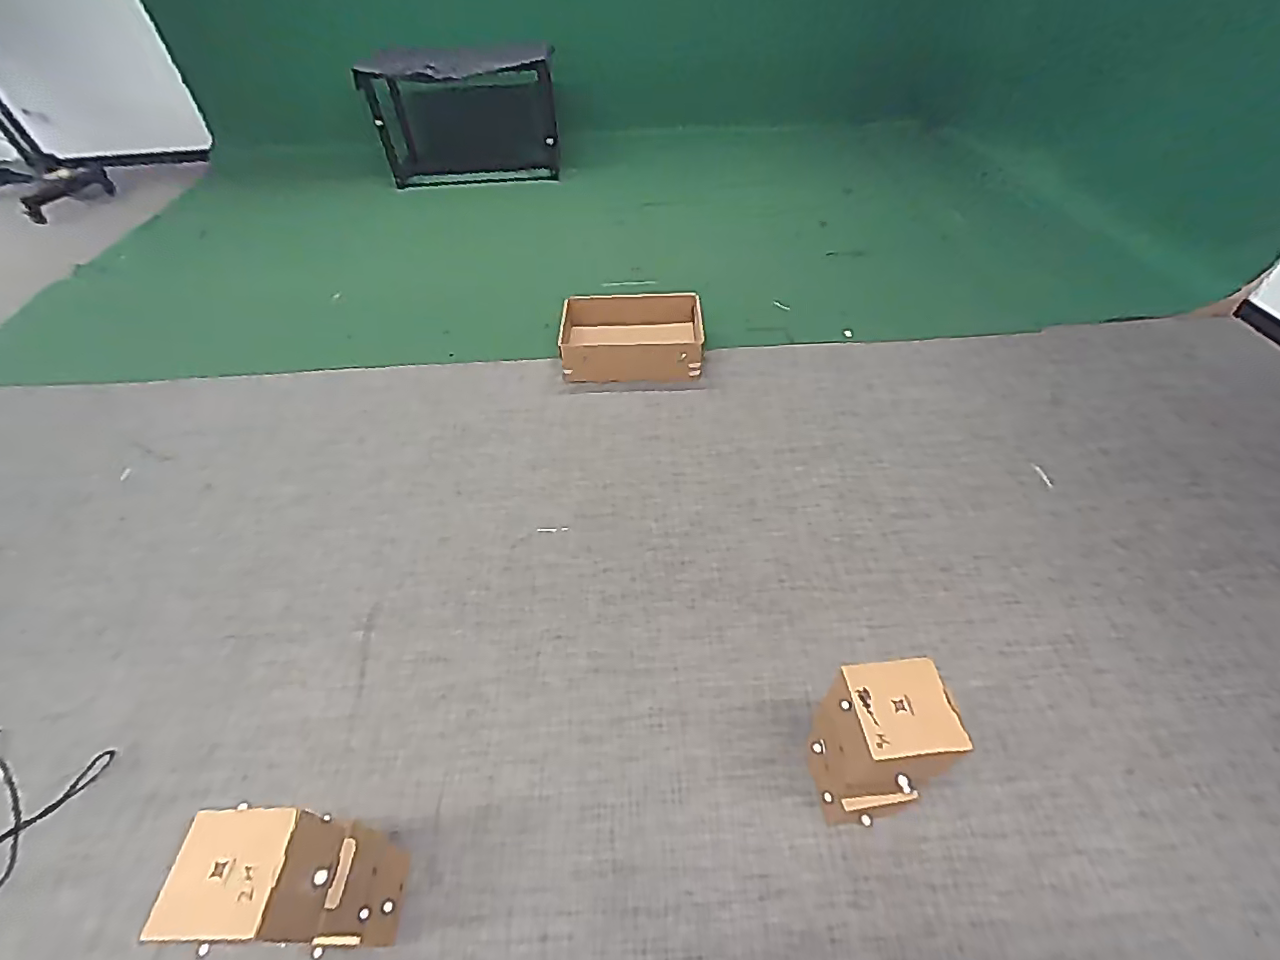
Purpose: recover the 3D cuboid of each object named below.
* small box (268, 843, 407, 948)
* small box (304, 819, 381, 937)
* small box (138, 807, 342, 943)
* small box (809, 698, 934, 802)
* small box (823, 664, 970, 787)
[{"bbox_3d":[-0.616,0.866,1.131,0.179,0.176,0.168,-2,48,1],"label":"small box"},{"bbox_3d":[-0.622,0.748,1.017,0.179,0.176,0.168,-2,48,2],"label":"small box"},{"bbox_3d":[-0.633,0.648,0.886,0.179,0.176,0.168,-2,48,2],"label":"small box"},{"bbox_3d":[0.479,0.569,1.147,0.179,0.176,0.168,-5,47,-1],"label":"small box"},{"bbox_3d":[0.469,0.465,1.020,0.179,0.176,0.168,-4,47,-2],"label":"small box"}]
